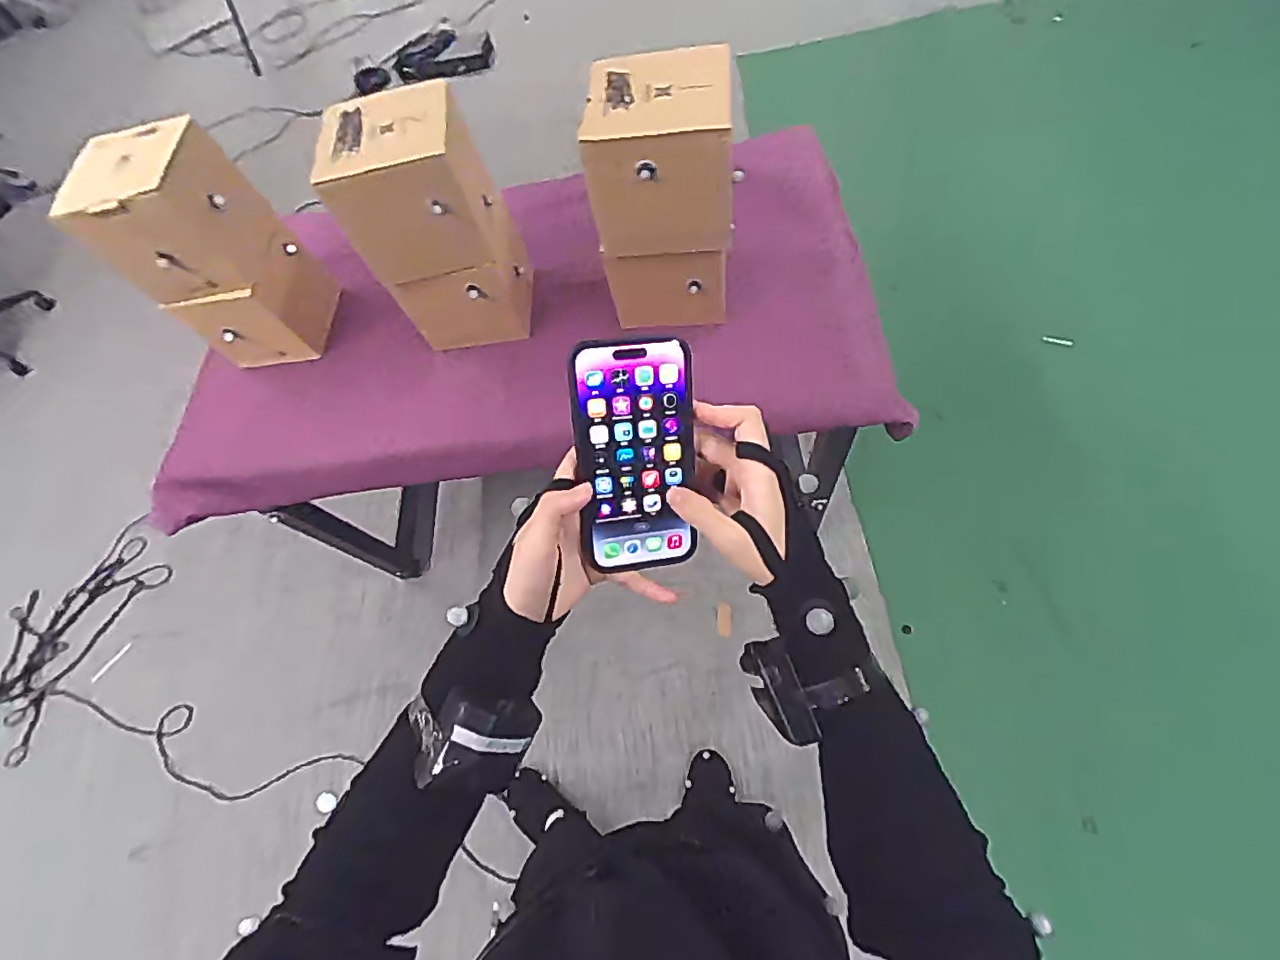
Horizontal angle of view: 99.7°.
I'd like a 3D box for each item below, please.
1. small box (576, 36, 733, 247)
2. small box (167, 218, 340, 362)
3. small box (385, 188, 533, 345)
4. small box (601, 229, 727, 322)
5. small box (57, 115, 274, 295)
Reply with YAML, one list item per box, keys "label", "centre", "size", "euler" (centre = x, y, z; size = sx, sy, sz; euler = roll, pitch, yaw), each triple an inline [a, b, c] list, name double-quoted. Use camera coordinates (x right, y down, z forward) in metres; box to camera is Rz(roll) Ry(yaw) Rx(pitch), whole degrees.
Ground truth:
- label: "small box"
  centre: [0.031, -0.428, 0.705]
  size: [0.179, 0.176, 0.168]
  euler: [0, 64, 9]
- label: "small box"
  centre: [-0.674, -0.328, 0.968]
  size: [0.168, 0.176, 0.179]
  euler: [-5, 64, 8]
- label: "small box"
  centre: [-0.289, -0.350, 0.907]
  size: [0.179, 0.176, 0.168]
  euler: [-6, 64, 8]
- label: "small box"
  centre: [0.048, -0.371, 0.859]
  size: [0.179, 0.176, 0.168]
  euler: [0, 64, 11]
- label: "small box"
  centre: [-0.701, -0.406, 0.826]
  size: [0.168, 0.176, 0.179]
  euler: [-10, 64, 5]
